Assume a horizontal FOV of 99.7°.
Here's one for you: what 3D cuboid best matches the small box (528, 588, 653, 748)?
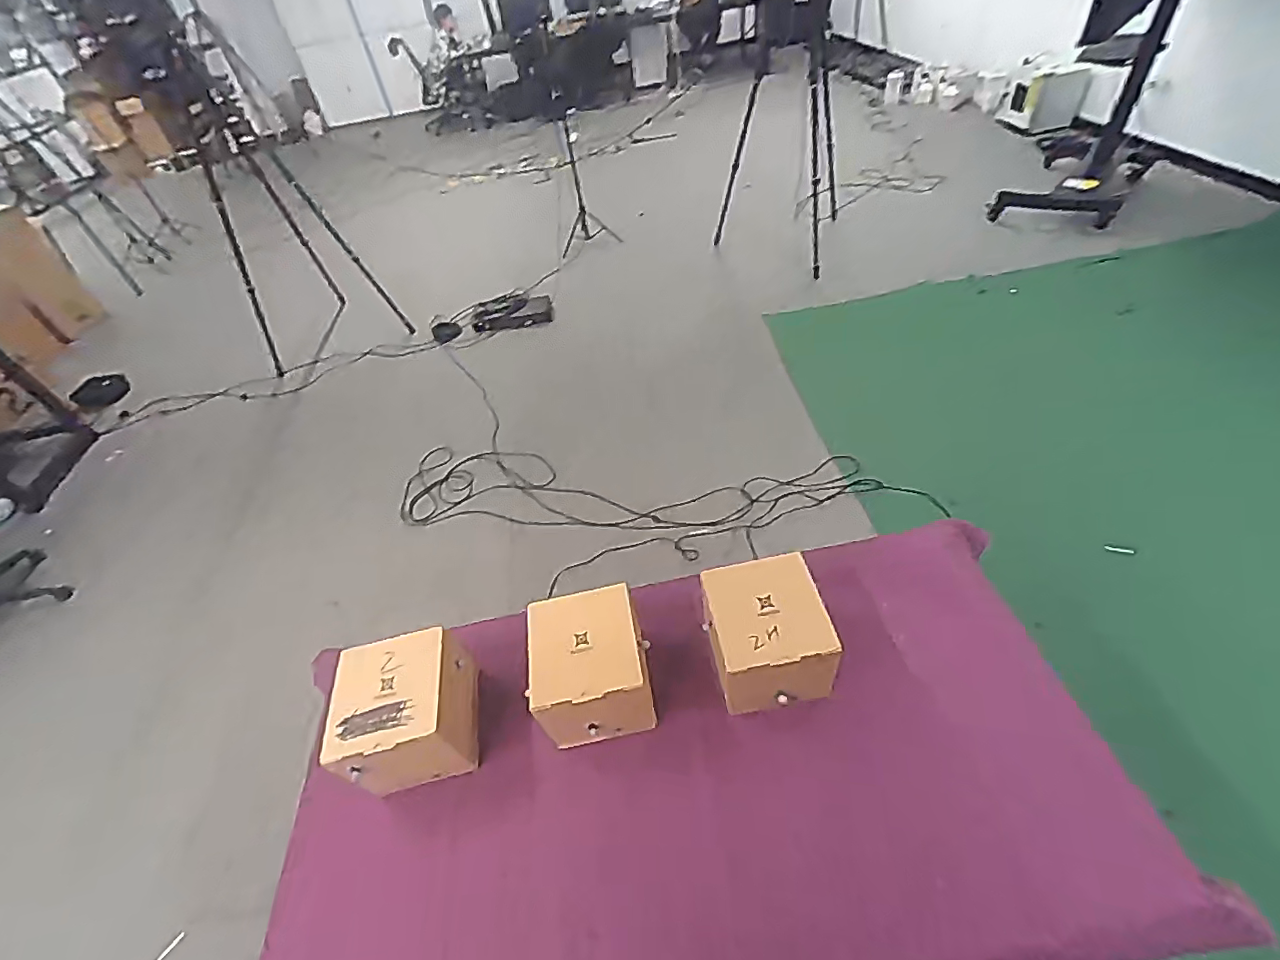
[{"bbox_3d":[-0.080,0.307,0.882,0.168,0.176,0.179,-13,47,-1],"label":"small box"}]

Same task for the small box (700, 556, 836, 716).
[{"bbox_3d":[0.197,0.252,0.873,0.168,0.176,0.179,-12,47,1],"label":"small box"}]
